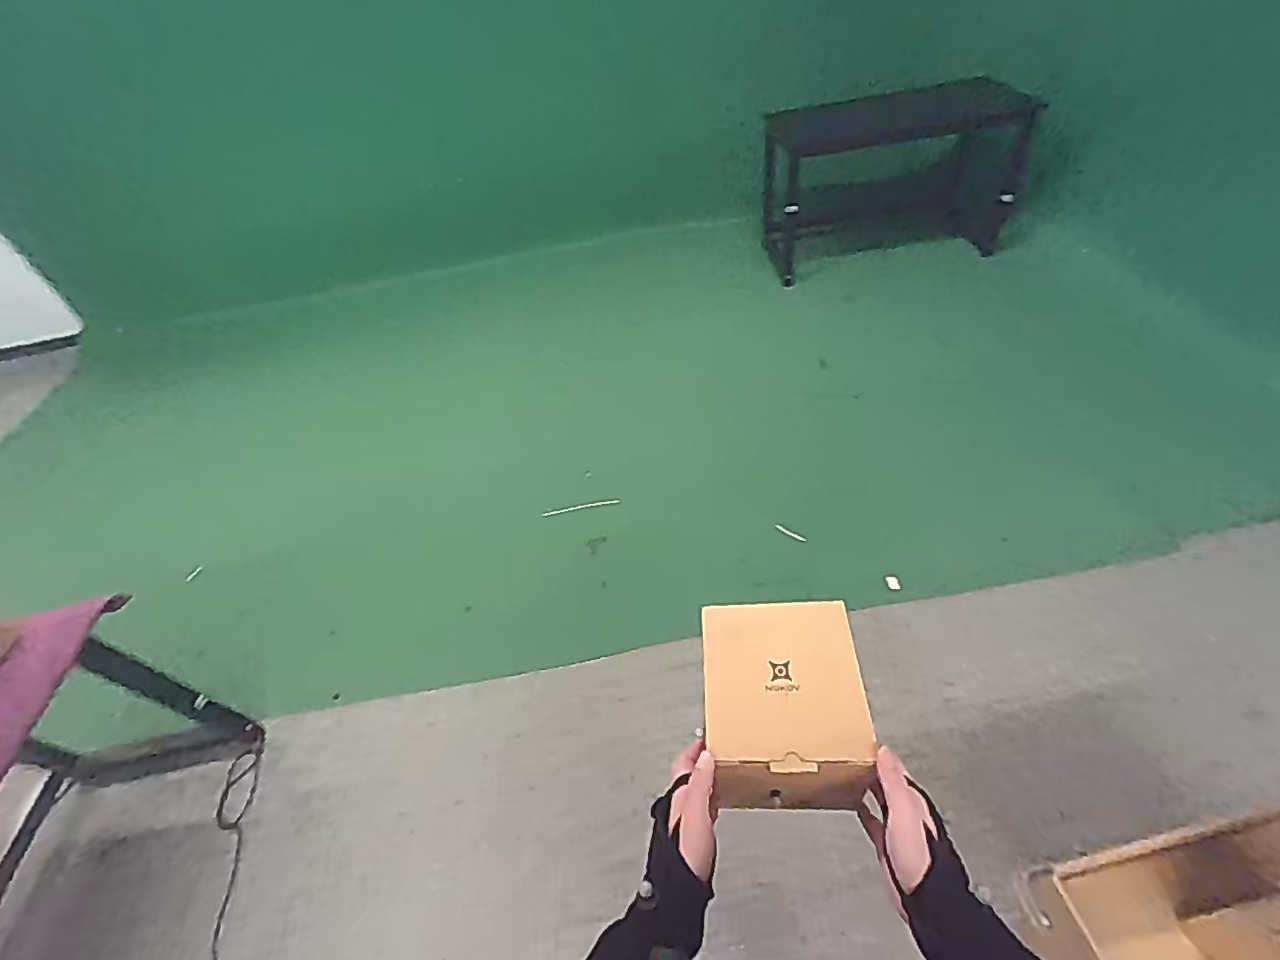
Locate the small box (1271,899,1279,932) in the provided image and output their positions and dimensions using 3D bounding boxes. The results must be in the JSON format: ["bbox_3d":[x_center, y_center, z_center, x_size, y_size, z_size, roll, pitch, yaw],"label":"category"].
[{"bbox_3d":[0.936,0.573,0.638,0.179,0.176,0.168,-13,46,-5],"label":"small box"}]

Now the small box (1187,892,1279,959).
[{"bbox_3d":[0.953,0.686,0.756,0.179,0.176,0.168,-12,46,-3],"label":"small box"}]

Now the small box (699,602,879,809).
[{"bbox_3d":[0.156,0.263,0.629,0.168,0.176,0.179,-5,47,7],"label":"small box"}]
